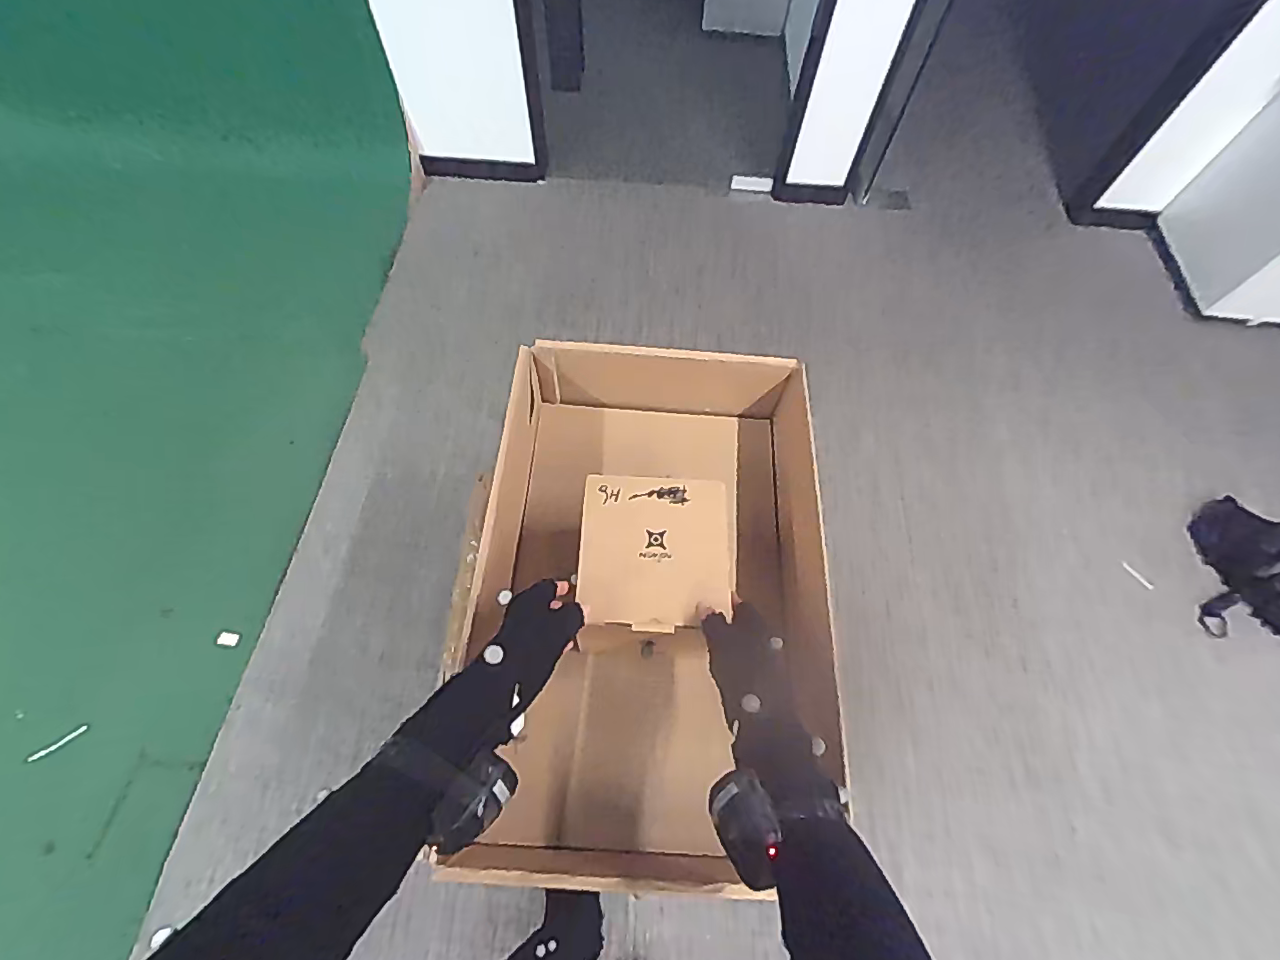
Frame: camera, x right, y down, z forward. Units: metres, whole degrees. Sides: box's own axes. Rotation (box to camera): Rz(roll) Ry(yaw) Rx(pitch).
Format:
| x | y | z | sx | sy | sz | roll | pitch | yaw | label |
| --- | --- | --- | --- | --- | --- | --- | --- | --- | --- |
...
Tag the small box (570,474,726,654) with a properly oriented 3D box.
| x | y | z | sx | sy | sz | roll | pitch | yaw | label |
| --- | --- | --- | --- | --- | --- | --- | --- | --- | --- |
| 0.011 | 0.110 | 0.664 | 0.168 | 0.176 | 0.179 | 4 | 63 | -1 | small box |
